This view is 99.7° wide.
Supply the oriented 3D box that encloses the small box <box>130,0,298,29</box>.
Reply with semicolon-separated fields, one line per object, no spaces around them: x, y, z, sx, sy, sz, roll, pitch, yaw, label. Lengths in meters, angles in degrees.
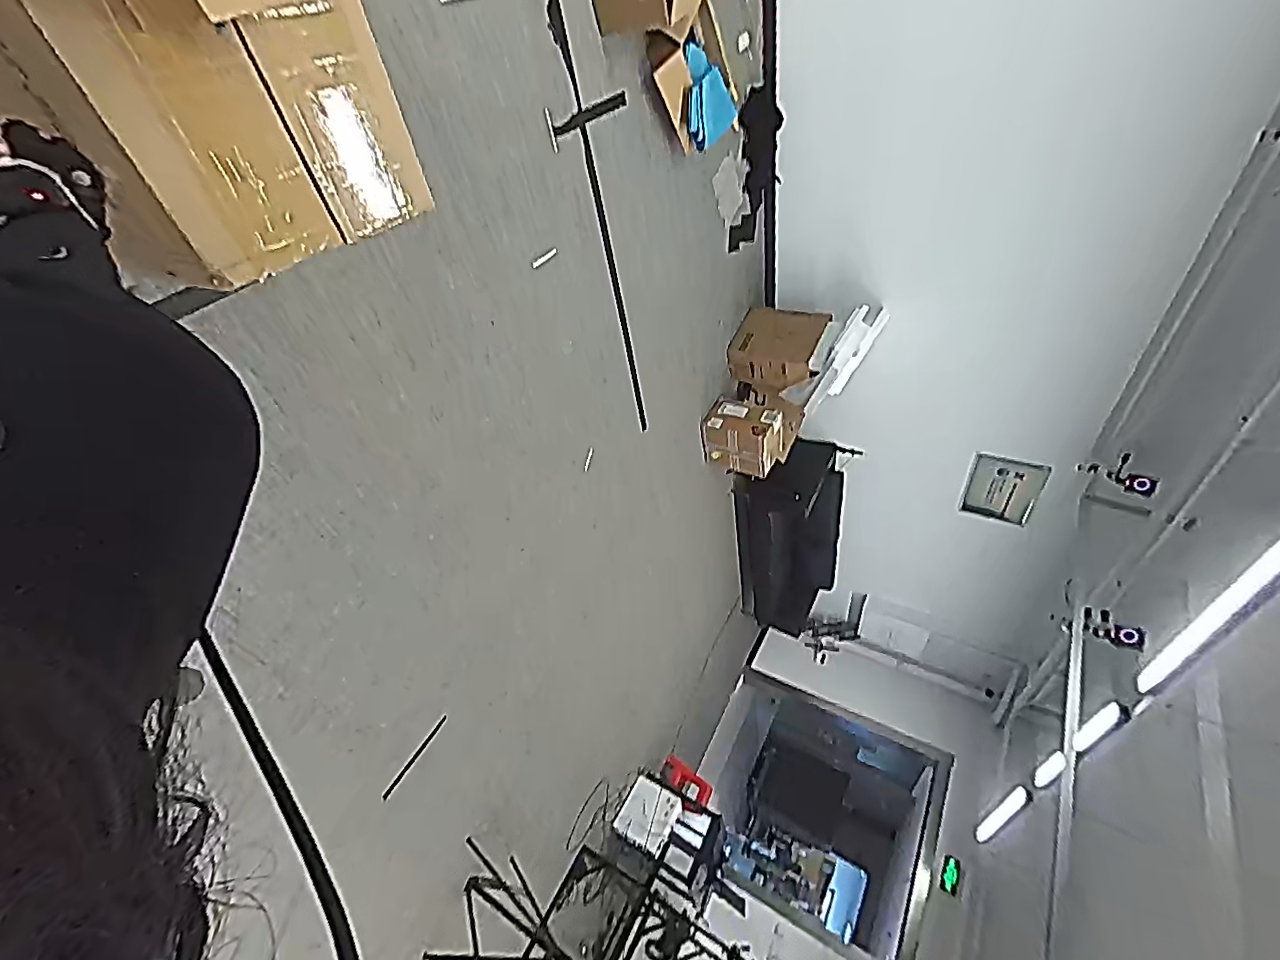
-0.486;-0.620;0.583;0.168;0.176;0.179;-51;147;-32;small box
